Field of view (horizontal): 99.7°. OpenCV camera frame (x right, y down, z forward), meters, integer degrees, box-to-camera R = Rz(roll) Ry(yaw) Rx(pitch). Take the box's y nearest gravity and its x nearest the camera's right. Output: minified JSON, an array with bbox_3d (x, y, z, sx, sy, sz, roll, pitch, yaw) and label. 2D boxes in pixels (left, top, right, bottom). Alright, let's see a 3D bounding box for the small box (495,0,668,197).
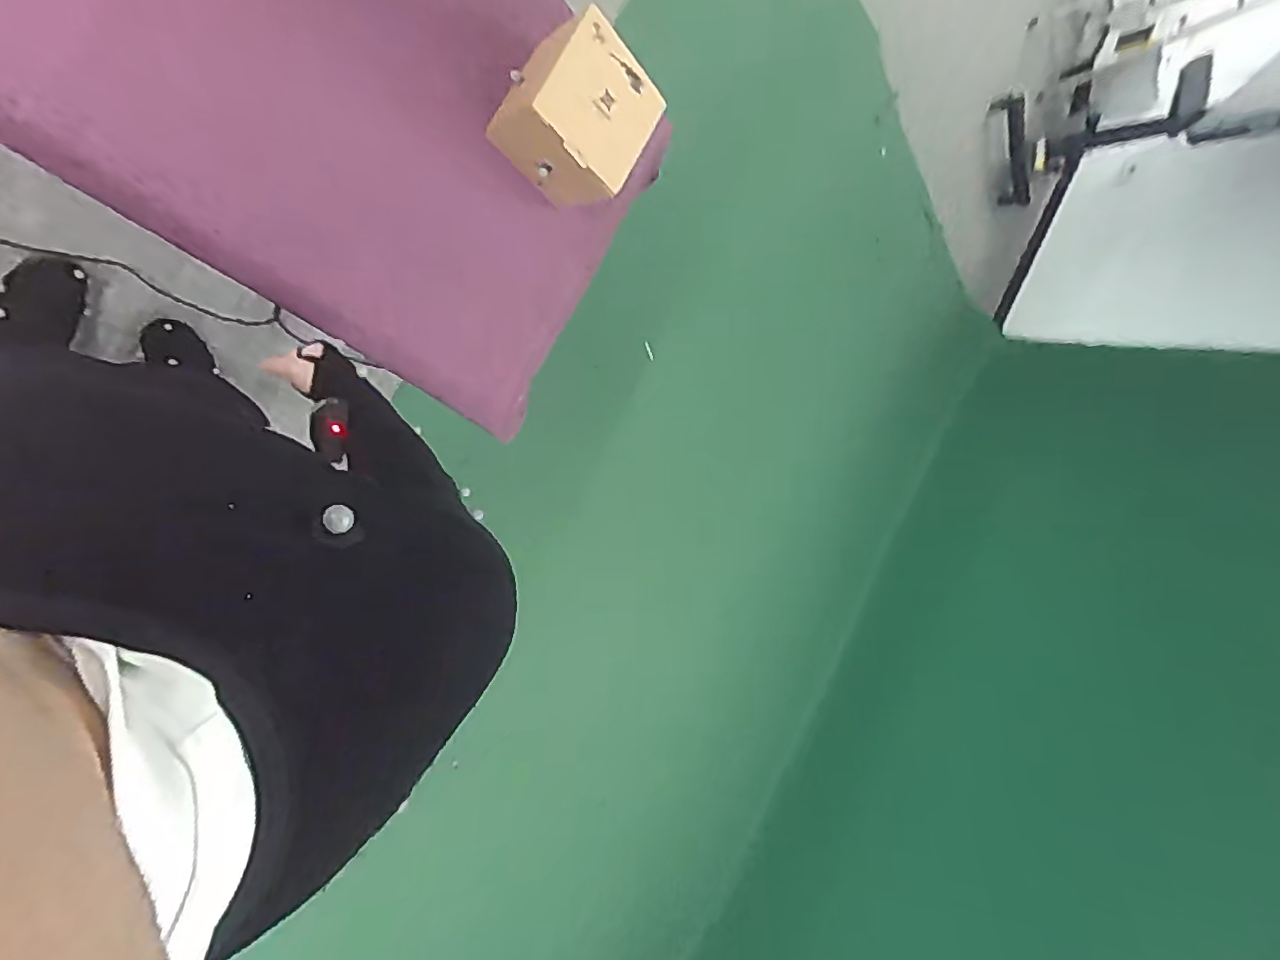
[{"bbox_3d":[-0.096,-0.564,0.822,0.168,0.176,0.179,32,85,-40],"label":"small box"}]
